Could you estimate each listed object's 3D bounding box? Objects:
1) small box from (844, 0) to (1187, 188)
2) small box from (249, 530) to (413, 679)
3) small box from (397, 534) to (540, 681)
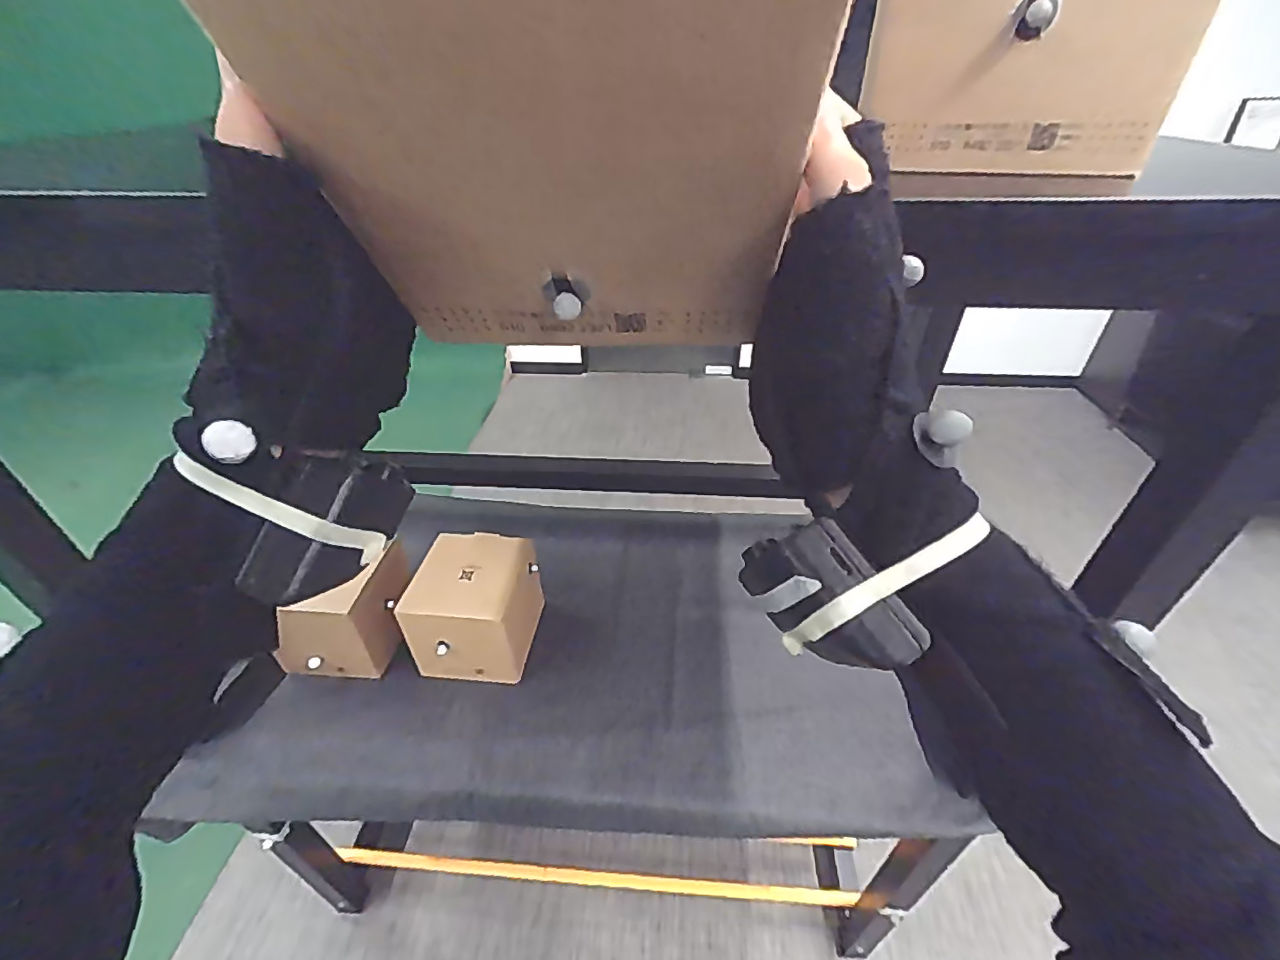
[{"bbox_3d":[0.248,-0.312,0.381,0.168,0.176,0.179,9,37,13],"label":"small box"},{"bbox_3d":[-0.499,0.207,0.914,0.168,0.176,0.179,2,37,3],"label":"small box"},{"bbox_3d":[-0.272,0.214,0.908,0.168,0.176,0.179,3,36,4],"label":"small box"}]
